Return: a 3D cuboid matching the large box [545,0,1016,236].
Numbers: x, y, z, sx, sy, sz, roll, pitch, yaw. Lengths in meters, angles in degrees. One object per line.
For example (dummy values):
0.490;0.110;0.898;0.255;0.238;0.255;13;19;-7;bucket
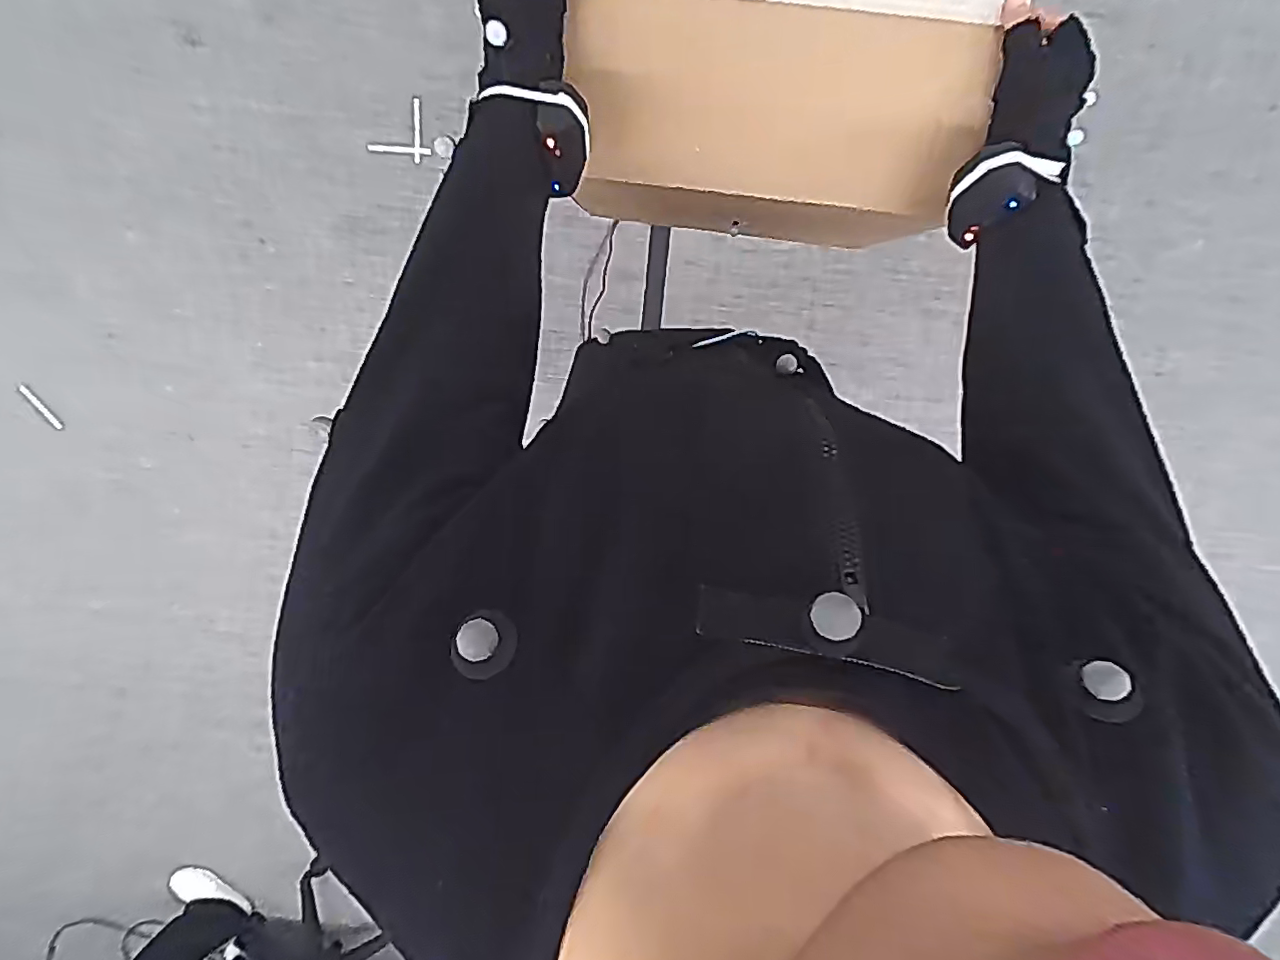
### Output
0.132;-0.470;0.605;0.408;0.320;0.320;8;108;1;large box
